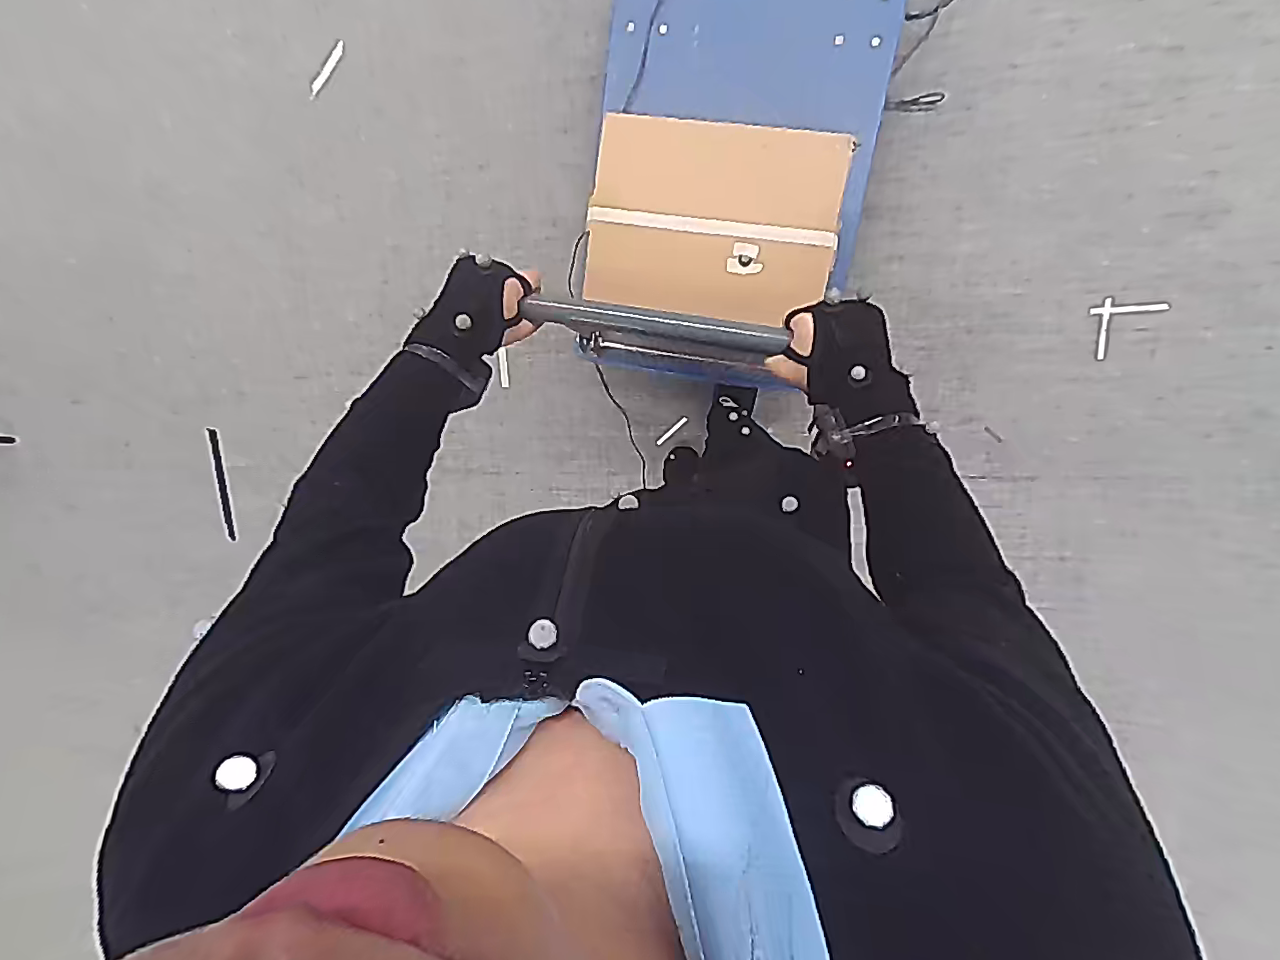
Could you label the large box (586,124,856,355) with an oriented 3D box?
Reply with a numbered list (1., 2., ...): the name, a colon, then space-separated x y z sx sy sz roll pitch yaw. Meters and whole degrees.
1. large box: 0.139 -0.425 1.026 0.408 0.320 0.320 10 102 7
